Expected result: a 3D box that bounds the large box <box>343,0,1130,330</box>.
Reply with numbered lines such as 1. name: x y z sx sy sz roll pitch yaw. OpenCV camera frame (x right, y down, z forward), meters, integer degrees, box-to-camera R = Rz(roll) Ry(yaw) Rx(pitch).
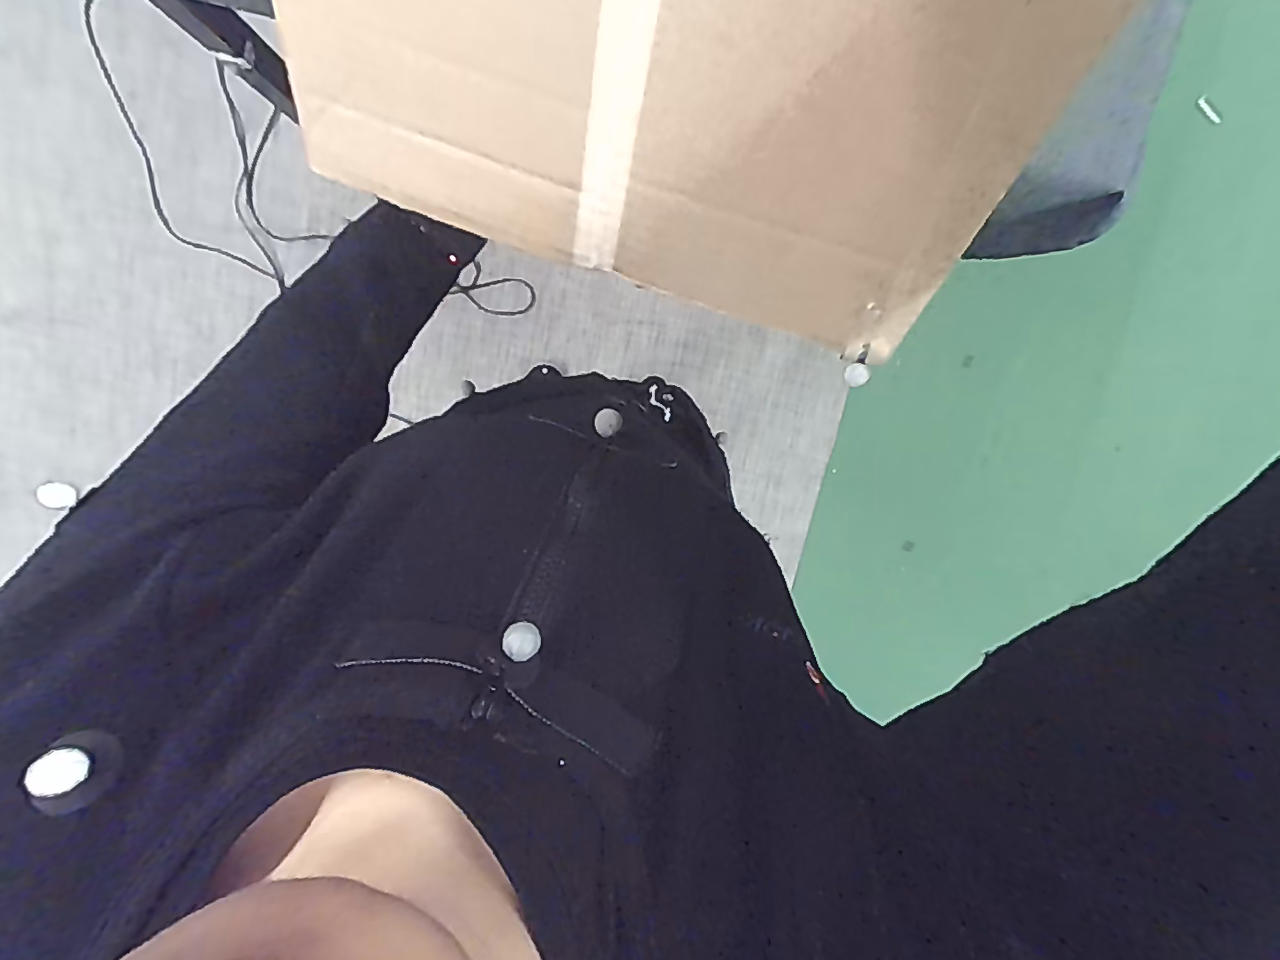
1. large box: 0.069 -0.356 0.240 0.320 0.320 0.408 18 140 1
